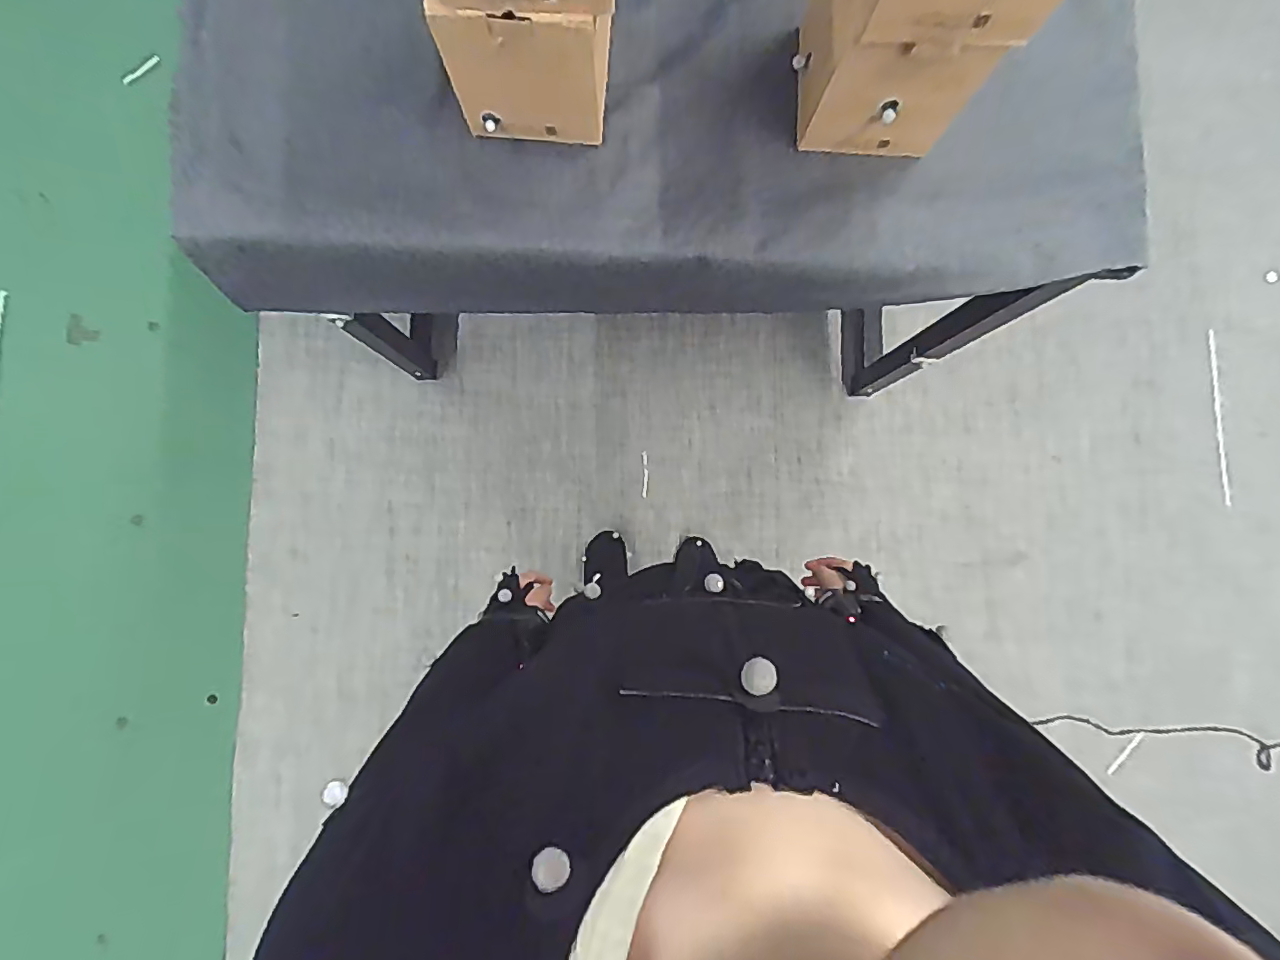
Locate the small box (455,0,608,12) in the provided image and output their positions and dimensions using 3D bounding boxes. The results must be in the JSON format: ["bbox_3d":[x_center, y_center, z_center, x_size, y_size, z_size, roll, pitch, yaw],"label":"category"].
[{"bbox_3d":[-0.105,-0.545,0.444,0.168,0.176,0.179,1,85,-1],"label":"small box"}]

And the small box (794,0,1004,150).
[{"bbox_3d":[0.282,-0.511,0.616,0.168,0.176,0.179,2,86,-1],"label":"small box"}]

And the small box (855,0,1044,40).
[{"bbox_3d":[0.292,-0.519,0.453,0.168,0.176,0.179,1,84,-2],"label":"small box"}]

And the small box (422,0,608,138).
[{"bbox_3d":[-0.125,-0.523,0.607,0.168,0.176,0.179,4,84,-1],"label":"small box"}]
